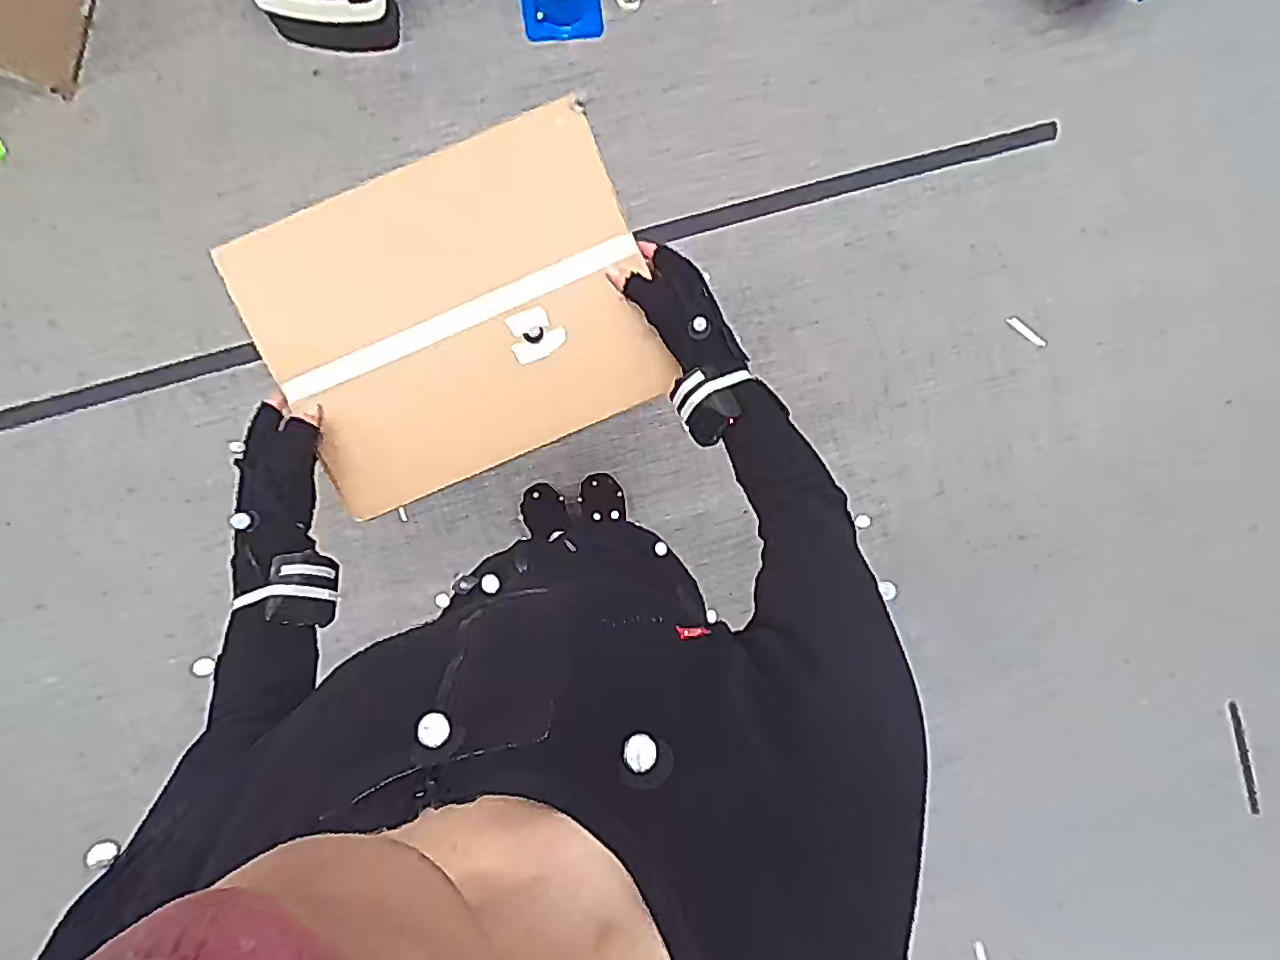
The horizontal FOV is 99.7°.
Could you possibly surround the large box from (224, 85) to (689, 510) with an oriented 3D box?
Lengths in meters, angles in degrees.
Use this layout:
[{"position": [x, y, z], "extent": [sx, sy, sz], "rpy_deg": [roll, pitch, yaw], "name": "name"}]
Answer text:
[{"position": [-0.195, -0.202, 0.714], "extent": [0.408, 0.320, 0.320], "rpy_deg": [-24, 100, 0], "name": "large box"}]
